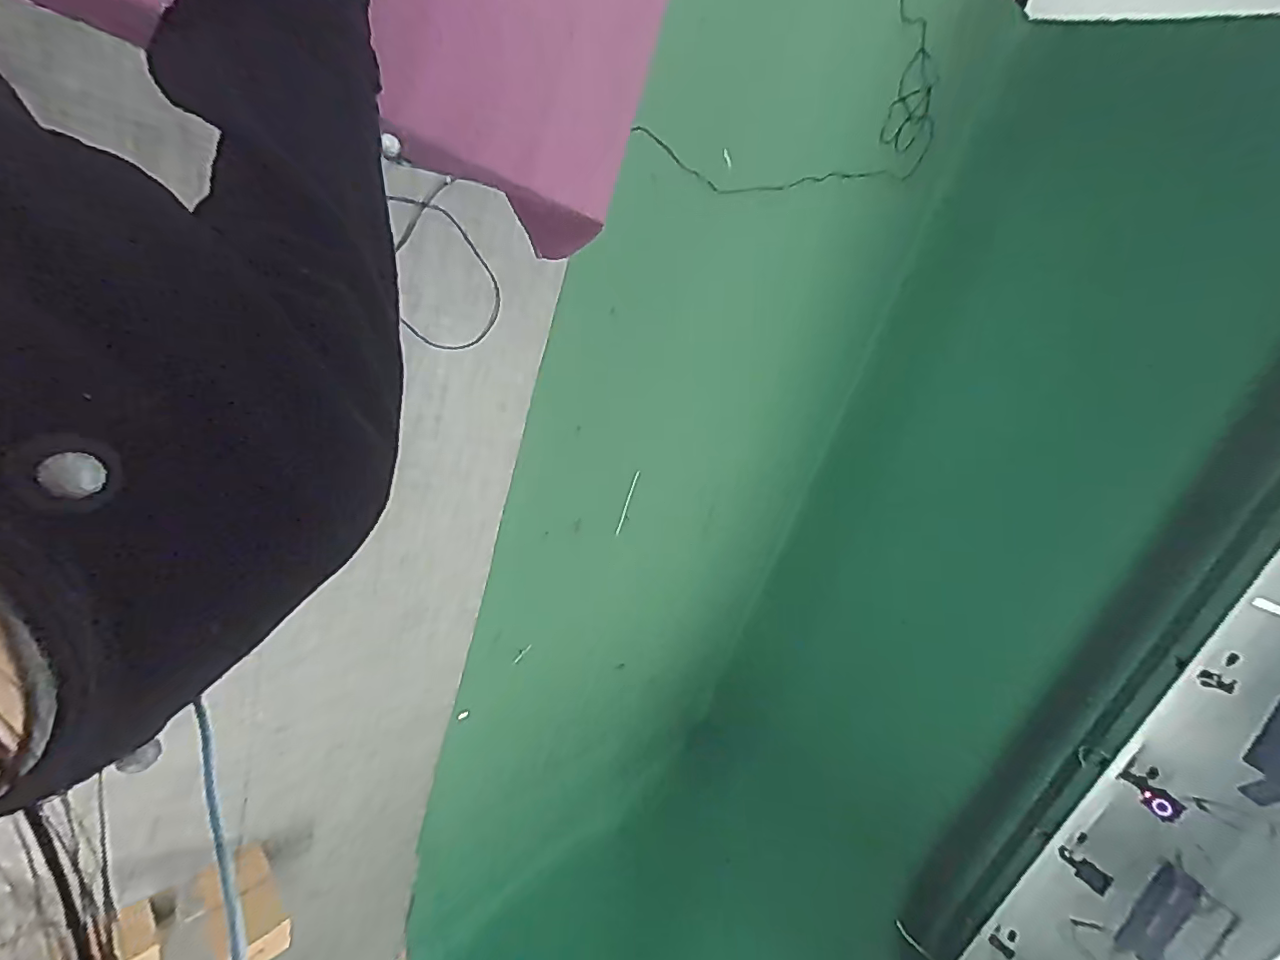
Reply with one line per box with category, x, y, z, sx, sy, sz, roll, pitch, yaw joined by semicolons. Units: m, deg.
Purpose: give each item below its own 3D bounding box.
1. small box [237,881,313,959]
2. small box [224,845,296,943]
small box;-1.217;1.502;1.797;0.179;0.176;0.168;-11;123;-49
small box;-1.335;1.445;1.895;0.179;0.176;0.168;-11;123;-49
